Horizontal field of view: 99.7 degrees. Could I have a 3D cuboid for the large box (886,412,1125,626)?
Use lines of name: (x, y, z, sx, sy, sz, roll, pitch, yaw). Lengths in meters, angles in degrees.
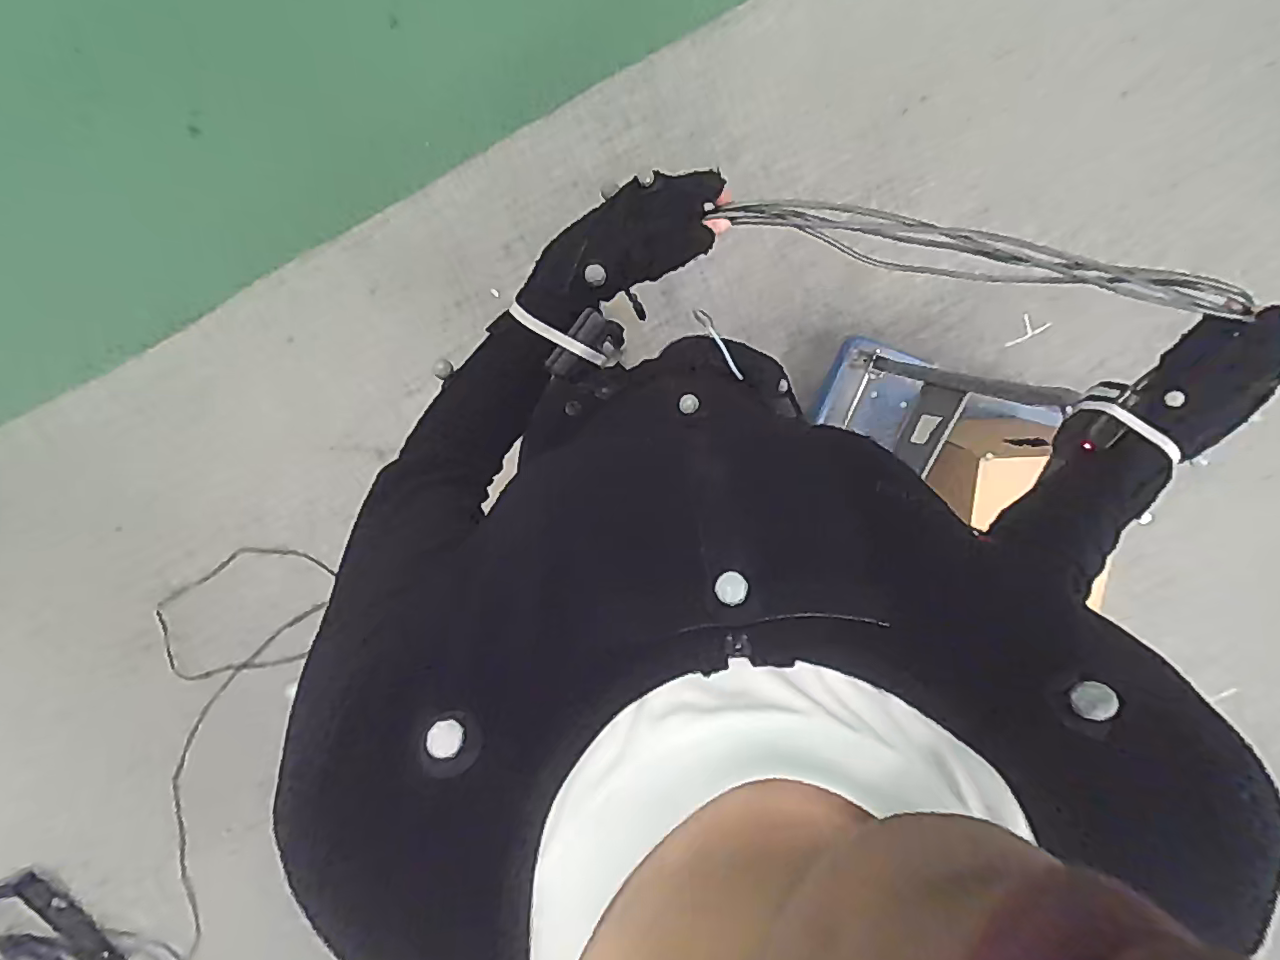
large box: (0.795, 0.073, 1.241, 0.320, 0.320, 0.408, -4, 107, -3)
